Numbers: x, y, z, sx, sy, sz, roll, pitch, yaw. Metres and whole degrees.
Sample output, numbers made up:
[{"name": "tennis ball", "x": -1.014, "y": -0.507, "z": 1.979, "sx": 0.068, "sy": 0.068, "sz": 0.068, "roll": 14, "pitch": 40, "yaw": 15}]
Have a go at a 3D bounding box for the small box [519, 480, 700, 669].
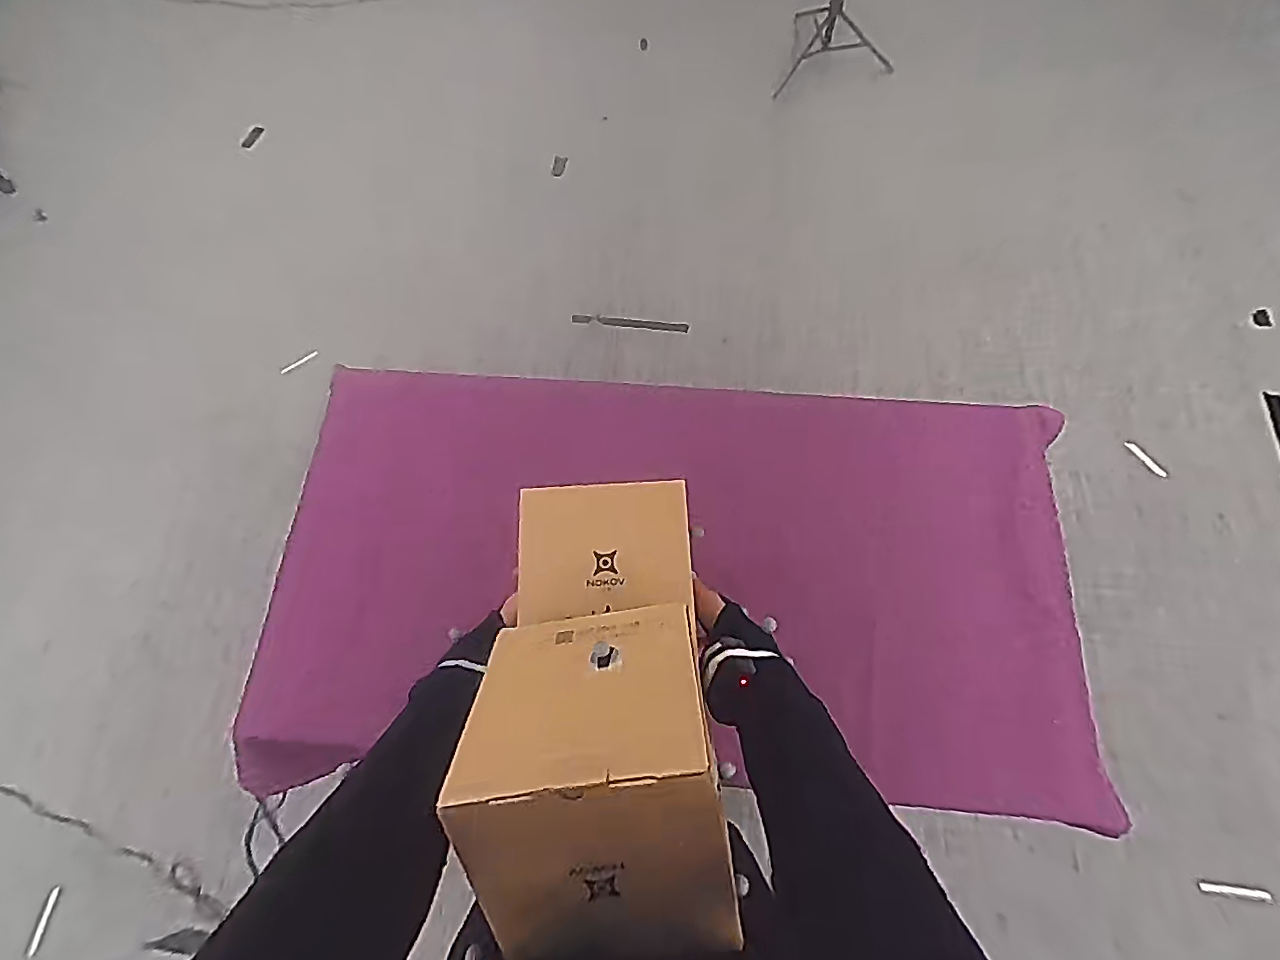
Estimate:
[{"name": "small box", "x": -0.027, "y": 0.110, "z": 0.584, "sx": 0.168, "sy": 0.176, "sz": 0.179, "roll": -3, "pitch": 72, "yaw": 2}]
